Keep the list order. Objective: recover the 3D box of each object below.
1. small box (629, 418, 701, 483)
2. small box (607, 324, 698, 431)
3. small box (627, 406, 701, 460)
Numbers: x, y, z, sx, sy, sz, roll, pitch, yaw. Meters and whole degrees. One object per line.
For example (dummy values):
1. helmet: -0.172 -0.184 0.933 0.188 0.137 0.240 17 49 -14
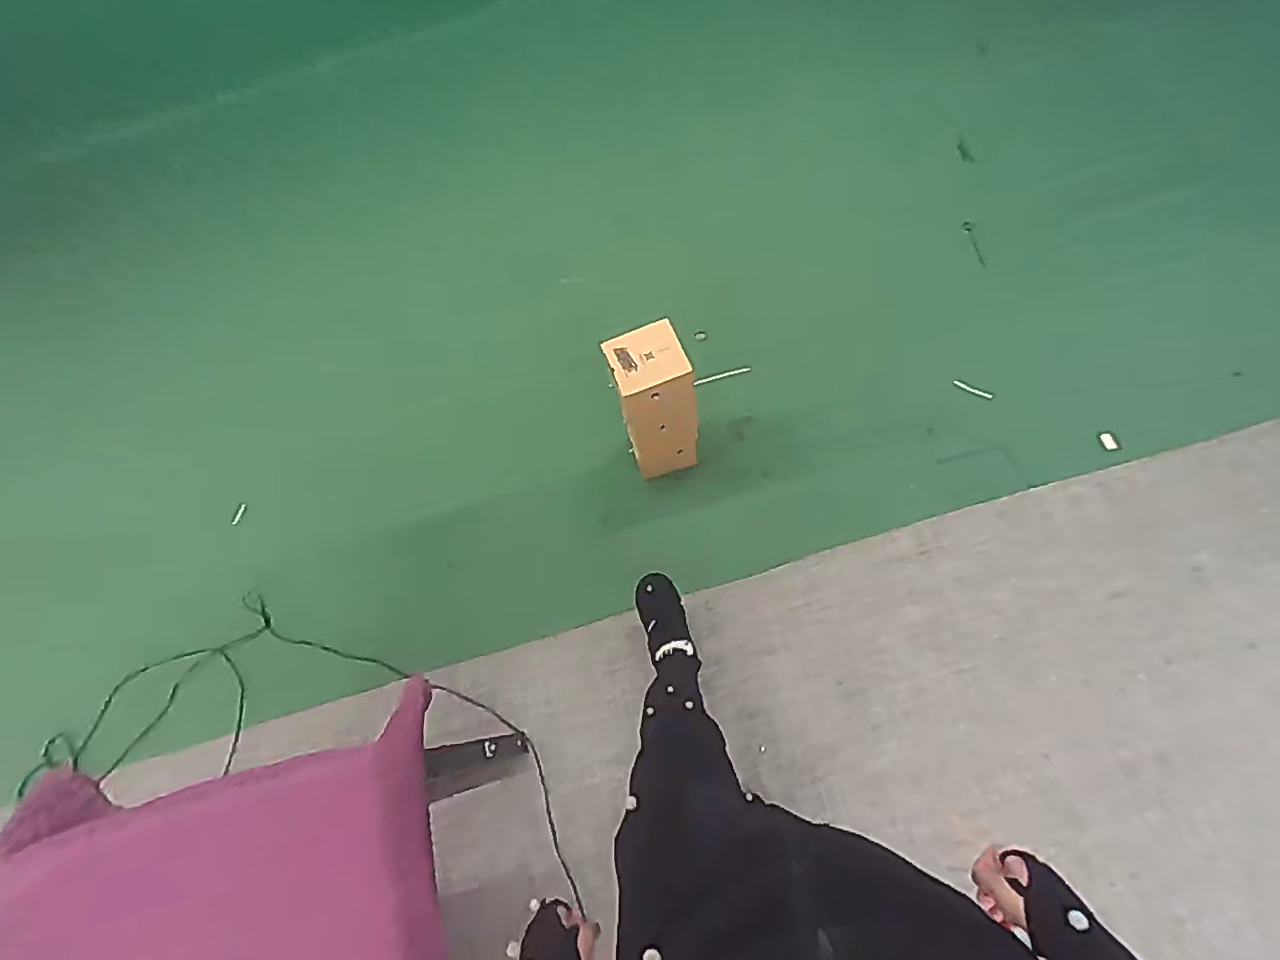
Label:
1. small box: 0.078 -0.113 1.633 0.179 0.176 0.168 -17 66 1
2. small box: 0.036 -0.245 1.338 0.179 0.176 0.168 -21 66 -1
3. small box: 0.062 -0.181 1.487 0.179 0.176 0.168 -20 66 1
